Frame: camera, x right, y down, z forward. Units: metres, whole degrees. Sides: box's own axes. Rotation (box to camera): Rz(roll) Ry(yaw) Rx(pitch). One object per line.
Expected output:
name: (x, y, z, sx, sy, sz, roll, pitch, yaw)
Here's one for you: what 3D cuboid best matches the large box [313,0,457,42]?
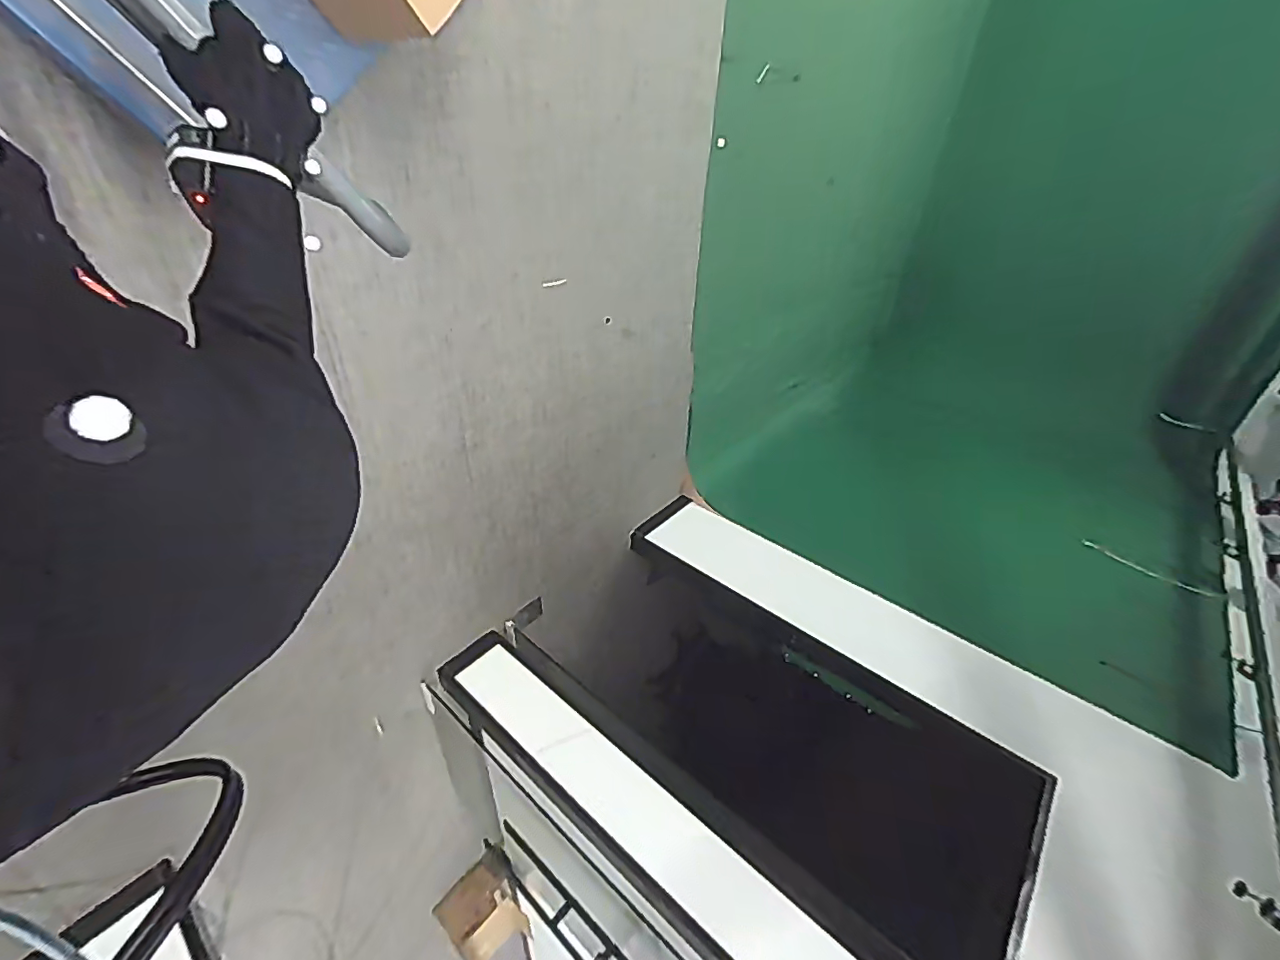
large box: (-0.461, -0.981, 0.817, 0.320, 0.320, 0.408, -59, 147, -5)
